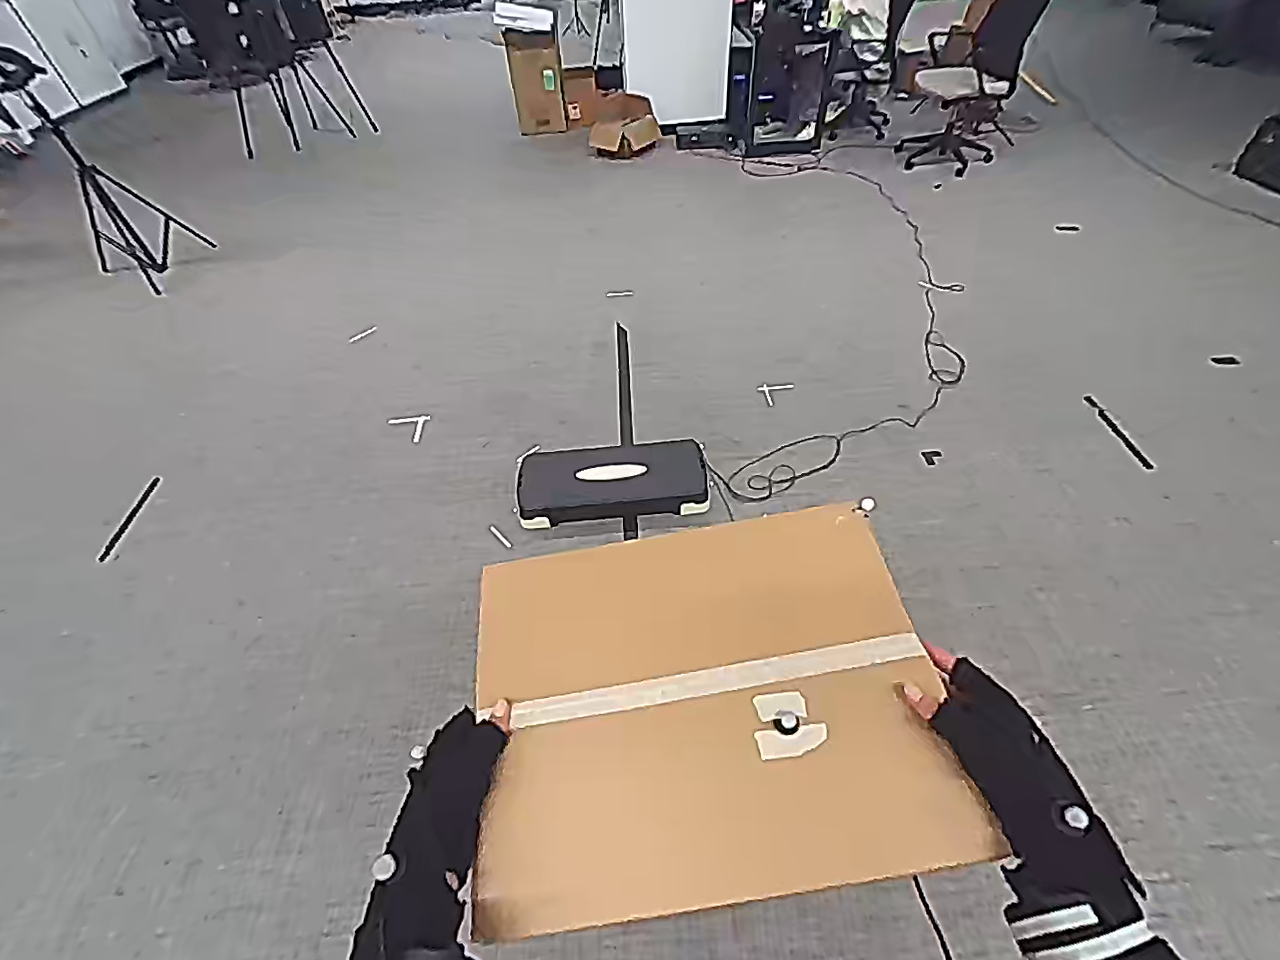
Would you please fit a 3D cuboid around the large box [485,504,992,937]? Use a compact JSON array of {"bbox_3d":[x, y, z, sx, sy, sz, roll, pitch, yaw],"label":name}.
[{"bbox_3d":[0.067,0.269,0.615,0.408,0.320,0.320,-10,56,0],"label":"large box"}]
